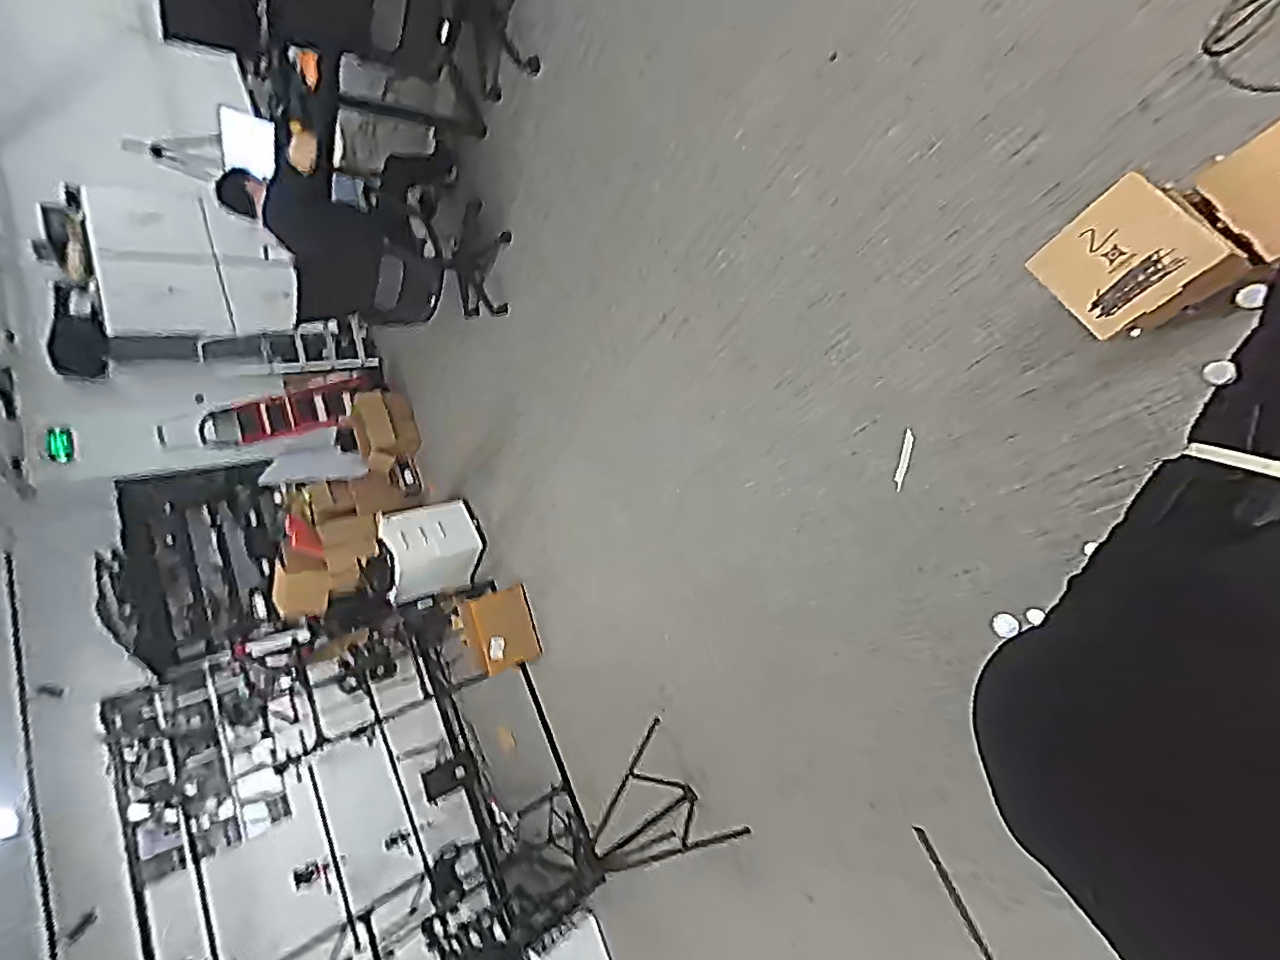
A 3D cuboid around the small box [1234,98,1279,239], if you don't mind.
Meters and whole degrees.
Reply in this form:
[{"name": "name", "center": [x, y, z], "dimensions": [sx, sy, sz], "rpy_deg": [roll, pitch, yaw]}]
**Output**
[{"name": "small box", "center": [0.937, -0.439, 0.722], "dimensions": [0.168, 0.176, 0.179], "rpy_deg": [-7, 106, 39]}]
